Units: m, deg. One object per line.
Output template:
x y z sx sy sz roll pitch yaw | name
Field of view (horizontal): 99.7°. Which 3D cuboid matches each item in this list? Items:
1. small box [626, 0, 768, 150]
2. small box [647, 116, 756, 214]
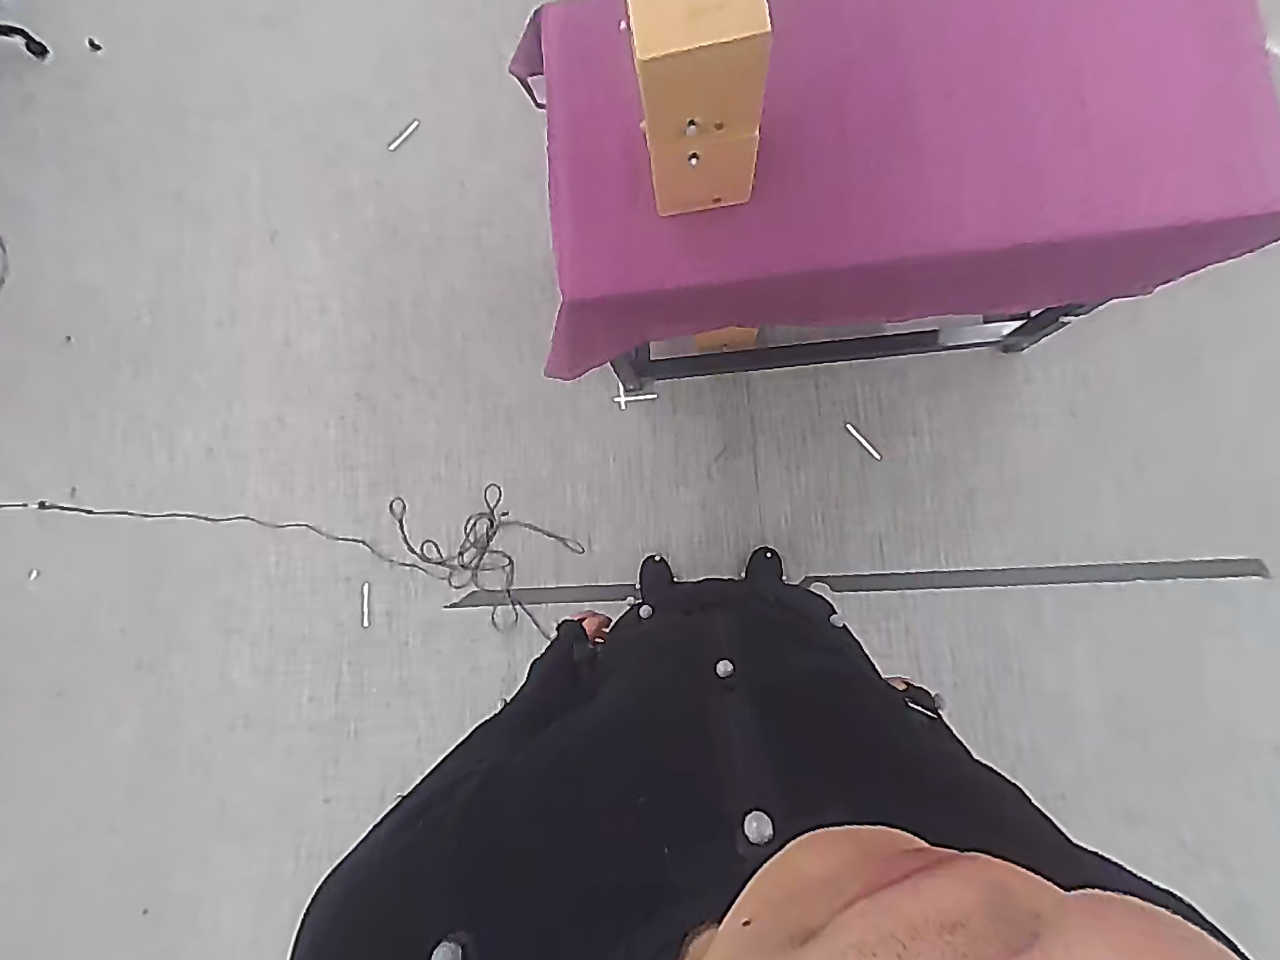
0.071 -0.599 0.740 0.168 0.176 0.179 -8 84 5 | small box
0.094 -0.581 0.901 0.168 0.176 0.179 -7 83 6 | small box
